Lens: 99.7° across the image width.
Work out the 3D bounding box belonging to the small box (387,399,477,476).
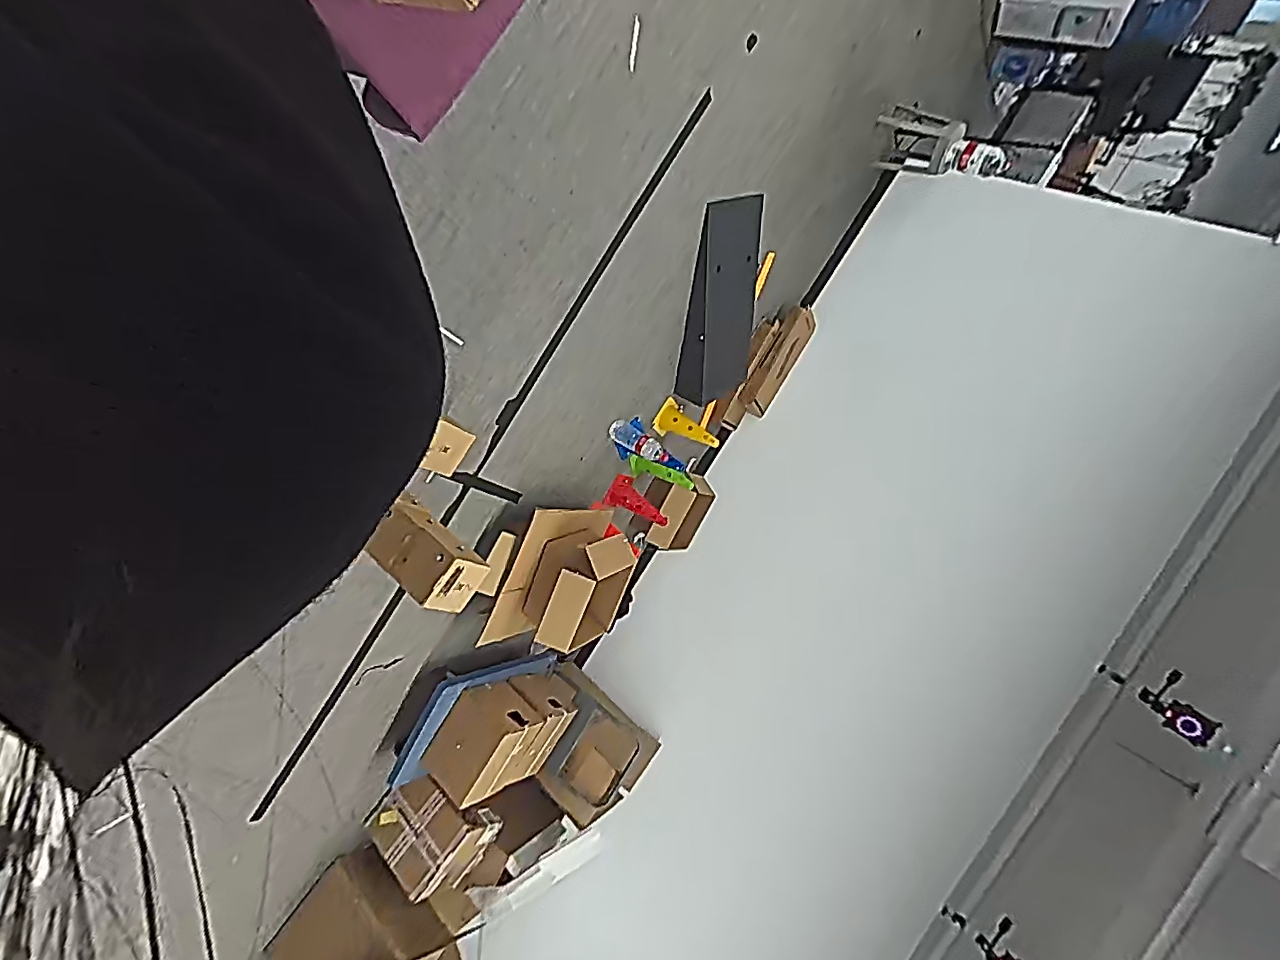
[{"bbox_3d":[-0.674,-0.140,1.744,0.168,0.176,0.179,-57,155,2],"label":"small box"}]

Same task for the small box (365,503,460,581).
[{"bbox_3d":[-0.707,0.190,1.677,0.168,0.176,0.179,-56,154,-3],"label":"small box"}]

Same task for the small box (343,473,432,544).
[{"bbox_3d":[-0.827,0.108,1.756,0.179,0.176,0.168,-54,153,-4],"label":"small box"}]
